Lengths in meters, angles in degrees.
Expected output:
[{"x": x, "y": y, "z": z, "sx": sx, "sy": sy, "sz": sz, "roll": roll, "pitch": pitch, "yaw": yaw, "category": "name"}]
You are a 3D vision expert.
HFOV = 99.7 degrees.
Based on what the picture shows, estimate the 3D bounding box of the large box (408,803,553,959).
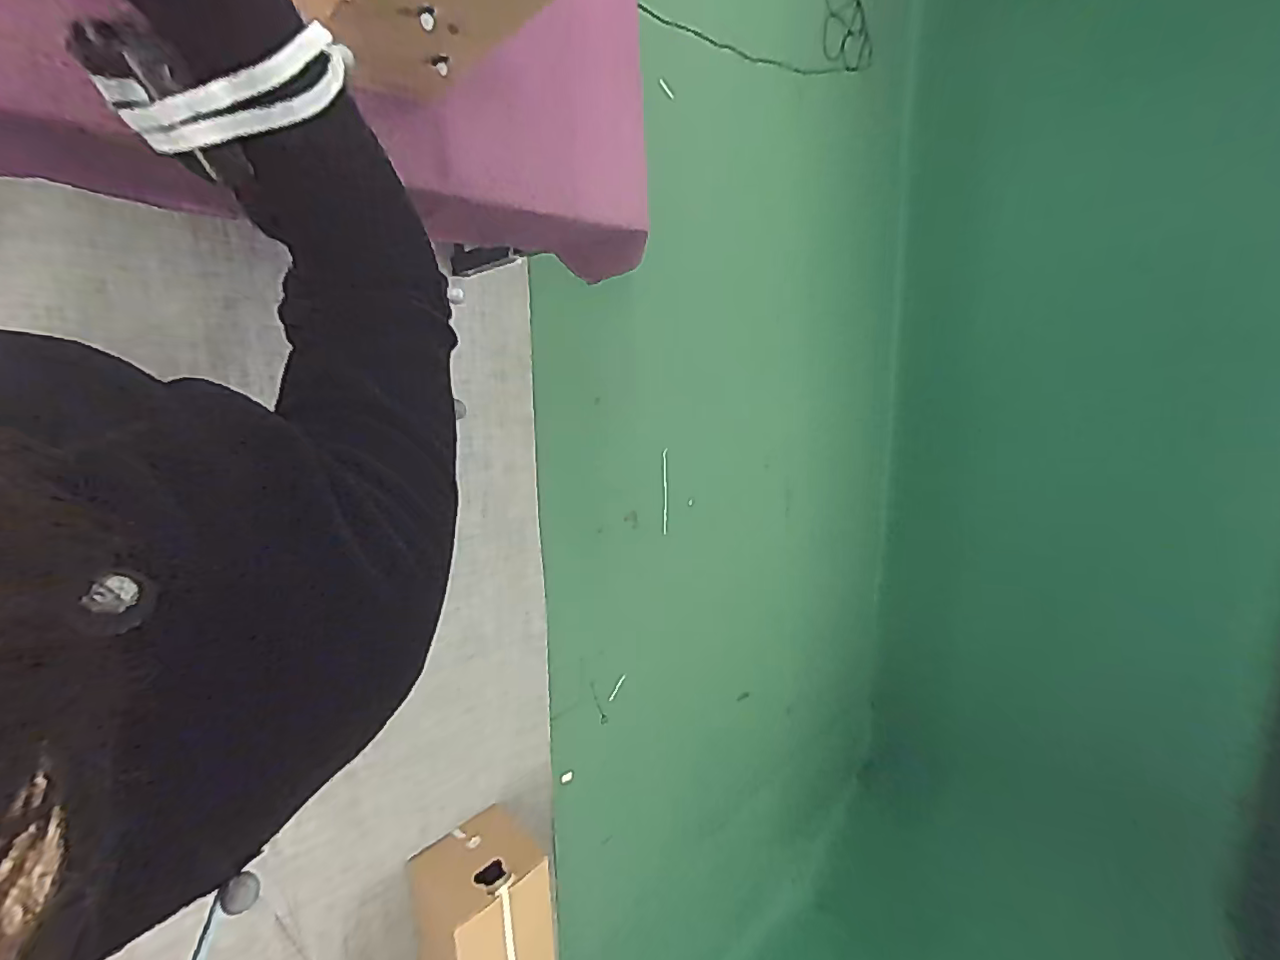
[{"x": -0.501, "y": 1.352, "z": 1.713, "sx": 0.320, "sy": 0.320, "sz": 0.408, "roll": -12, "pitch": 106, "yaw": -44, "category": "large box"}]

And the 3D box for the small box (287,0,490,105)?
[{"x": -0.309, "y": -0.591, "z": 0.655, "sx": 0.179, "sy": 0.176, "sz": 0.168, "roll": -15, "pitch": 106, "yaw": -43, "category": "small box"}]
